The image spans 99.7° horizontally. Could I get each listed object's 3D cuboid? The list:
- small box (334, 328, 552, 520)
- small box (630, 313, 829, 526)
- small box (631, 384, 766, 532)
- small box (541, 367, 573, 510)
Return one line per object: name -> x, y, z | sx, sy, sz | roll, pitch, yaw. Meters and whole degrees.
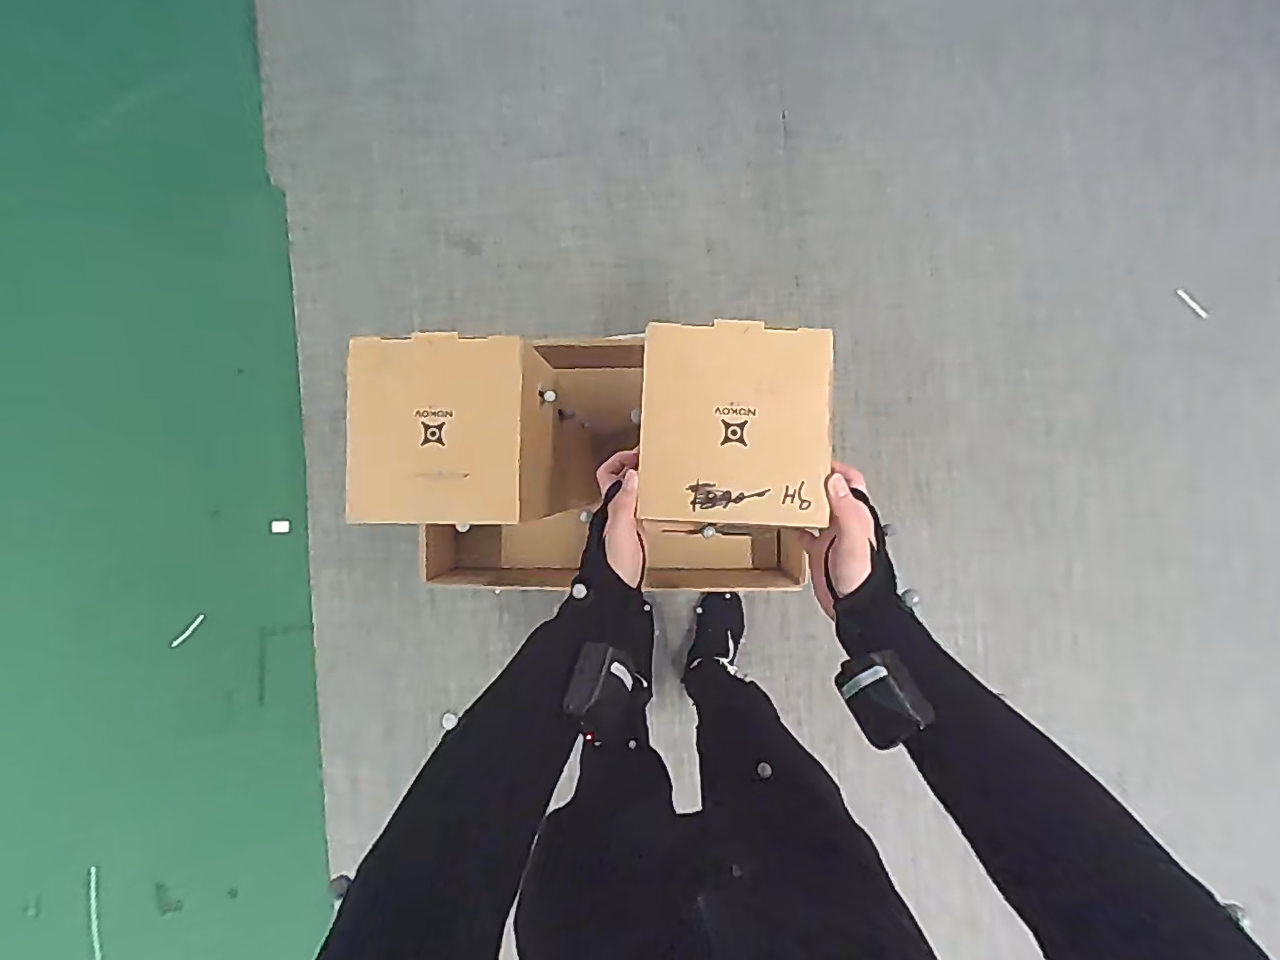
small box -> -0.192, -0.050, 0.571 | 0.168, 0.176, 0.179 | 1, 89, 3
small box -> 0.079, -0.047, 0.539 | 0.168, 0.176, 0.179 | 3, 85, 3
small box -> 0.078, -0.028, 0.724 | 0.168, 0.176, 0.179 | 2, 89, 2
small box -> -0.187, -0.048, 0.734 | 0.168, 0.176, 0.179 | -1, 89, 3
